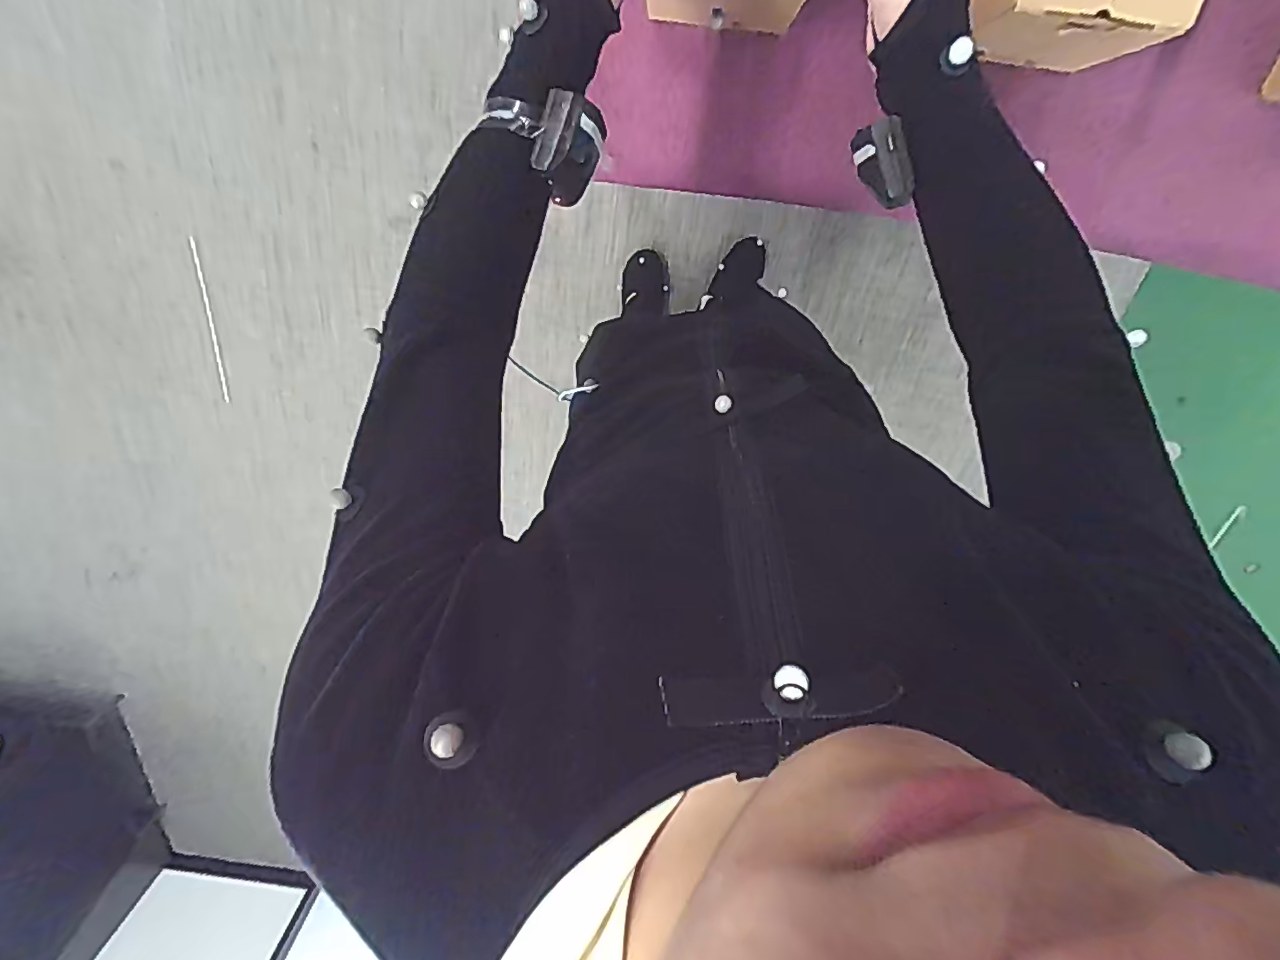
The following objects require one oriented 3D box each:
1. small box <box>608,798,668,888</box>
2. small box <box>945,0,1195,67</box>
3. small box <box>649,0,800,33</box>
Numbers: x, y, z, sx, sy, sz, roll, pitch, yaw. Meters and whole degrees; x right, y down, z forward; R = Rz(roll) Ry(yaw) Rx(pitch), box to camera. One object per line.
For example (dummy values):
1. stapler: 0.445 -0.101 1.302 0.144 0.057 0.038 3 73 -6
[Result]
1. small box: -0.003 1.196 1.783 0.168 0.176 0.179 12 116 -1
2. small box: 0.435 -0.537 0.532 0.168 0.176 0.179 8 116 0
3. small box: 0.092 -0.582 0.532 0.168 0.176 0.179 7 117 1
